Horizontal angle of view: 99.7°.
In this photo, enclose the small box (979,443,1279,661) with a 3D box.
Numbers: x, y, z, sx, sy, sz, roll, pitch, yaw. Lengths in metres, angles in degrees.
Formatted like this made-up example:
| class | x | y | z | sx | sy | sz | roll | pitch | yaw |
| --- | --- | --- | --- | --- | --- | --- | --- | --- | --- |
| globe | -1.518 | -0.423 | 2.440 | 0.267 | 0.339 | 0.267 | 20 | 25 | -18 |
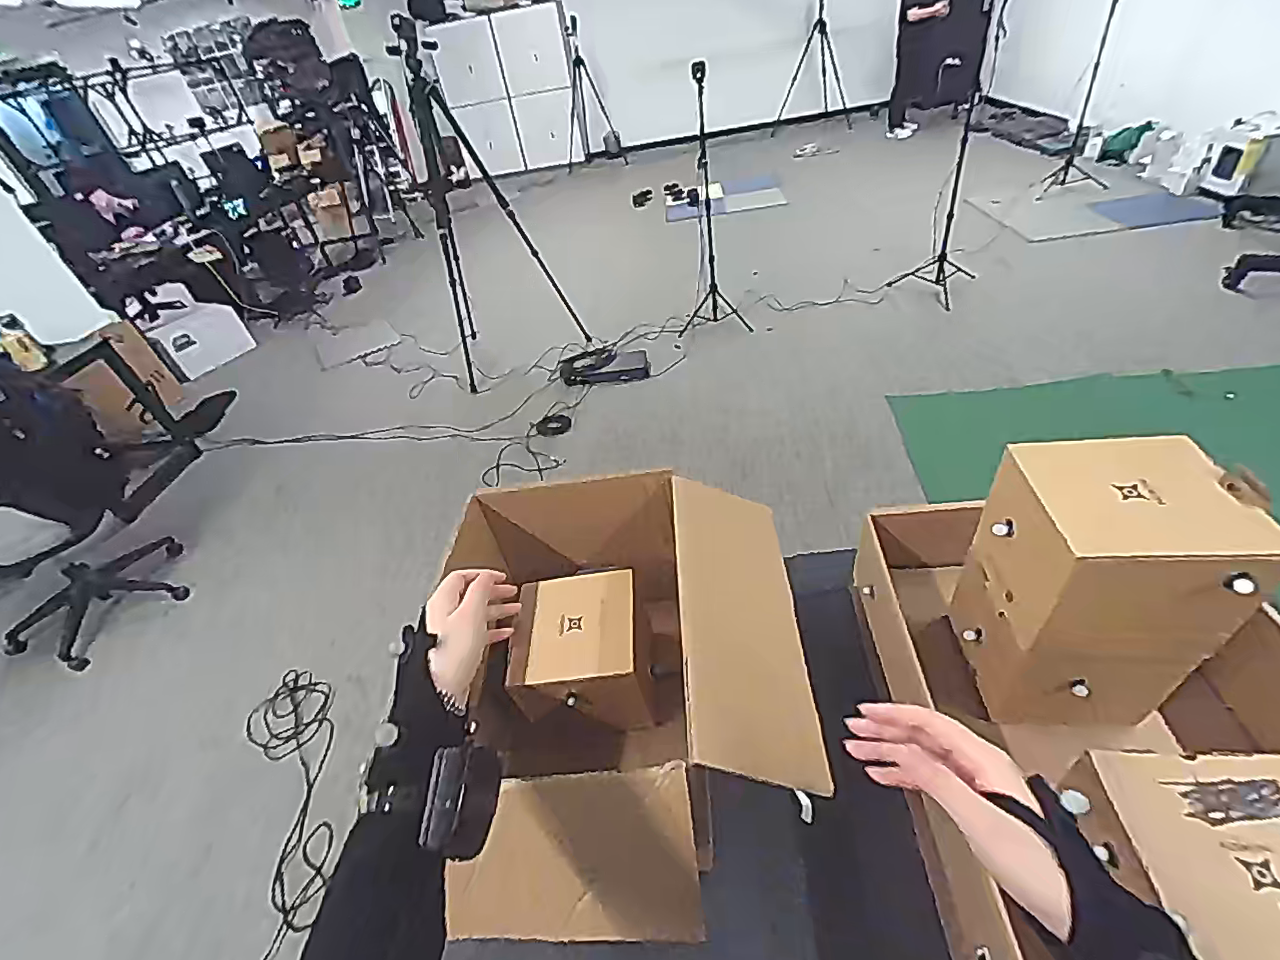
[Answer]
| class | x | y | z | sx | sy | sz | roll | pitch | yaw |
| --- | --- | --- | --- | --- | --- | --- | --- | --- | --- |
| small box | 0.493 | 0.079 | 0.582 | 0.179 | 0.176 | 0.168 | -2 | 42 | 10 |
